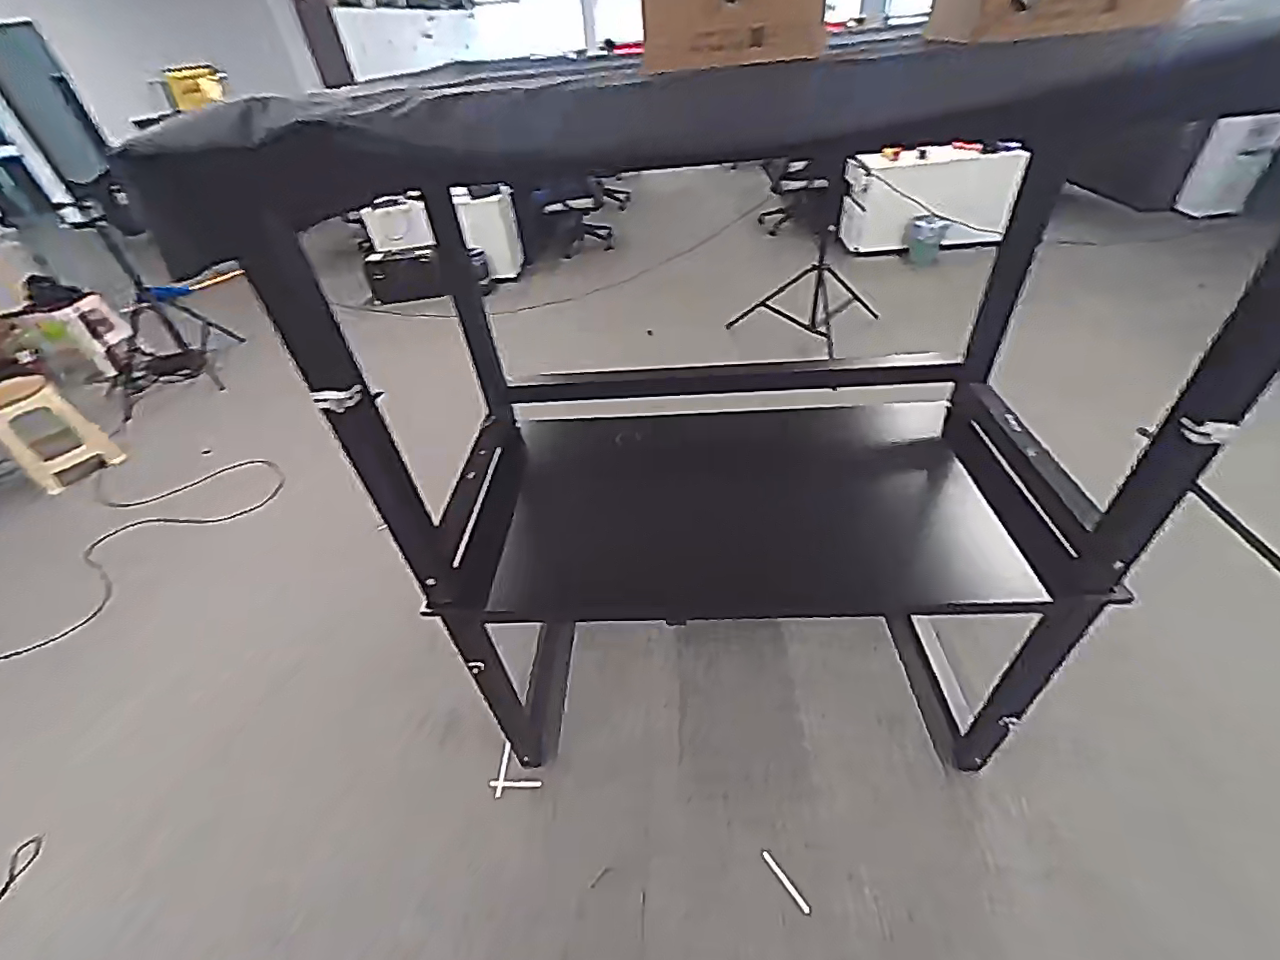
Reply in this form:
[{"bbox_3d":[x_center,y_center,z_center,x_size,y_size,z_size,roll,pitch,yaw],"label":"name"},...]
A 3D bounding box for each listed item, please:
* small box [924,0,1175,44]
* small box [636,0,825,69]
[{"bbox_3d":[0.379,-0.510,0.485,0.168,0.176,0.179,0,39,8],"label":"small box"},{"bbox_3d":[0.080,-0.498,0.509,0.168,0.176,0.179,-3,38,5],"label":"small box"}]
